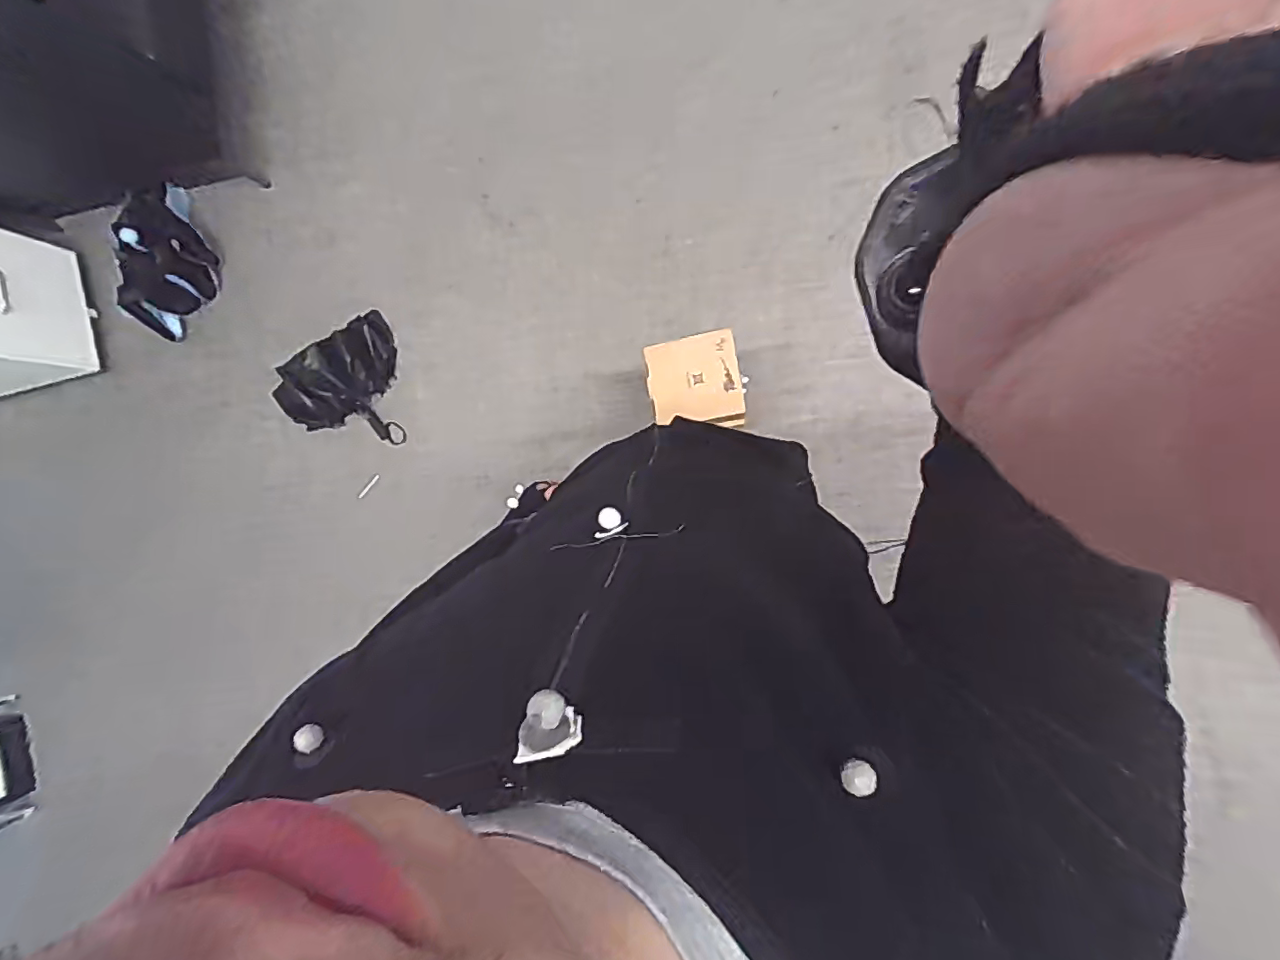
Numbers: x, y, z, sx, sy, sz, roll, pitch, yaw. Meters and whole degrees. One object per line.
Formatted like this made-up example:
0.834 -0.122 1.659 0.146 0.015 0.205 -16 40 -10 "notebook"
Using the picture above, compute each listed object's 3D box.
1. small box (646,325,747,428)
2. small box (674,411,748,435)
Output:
0.123 -0.204 1.123 0.179 0.176 0.168 -10 90 12 "small box"
0.159 -0.205 1.283 0.168 0.176 0.179 -10 92 12 "small box"
